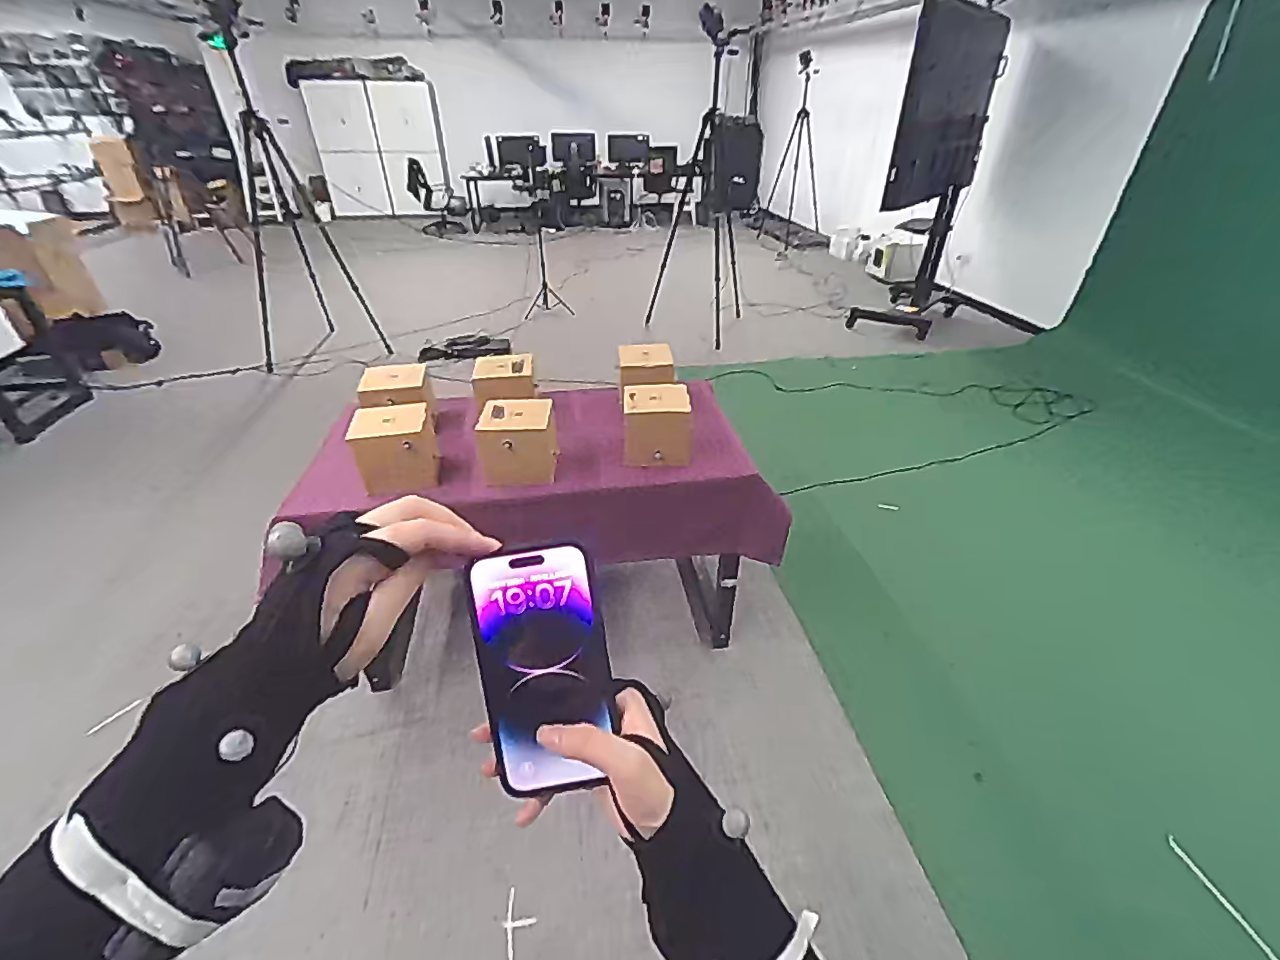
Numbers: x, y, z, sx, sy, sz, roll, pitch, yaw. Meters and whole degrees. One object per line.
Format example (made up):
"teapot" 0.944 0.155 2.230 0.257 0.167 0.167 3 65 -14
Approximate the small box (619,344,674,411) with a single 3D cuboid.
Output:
"small box" 0.016 -0.329 1.751 0.168 0.176 0.179 -3 36 -4

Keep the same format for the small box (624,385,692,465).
"small box" 0.045 -0.151 1.495 0.179 0.176 0.168 0 34 -1

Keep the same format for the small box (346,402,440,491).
"small box" -0.628 -0.085 1.397 0.179 0.176 0.168 -7 35 -13

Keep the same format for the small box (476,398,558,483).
"small box" -0.316 -0.103 1.422 0.179 0.176 0.168 -1 35 -3
